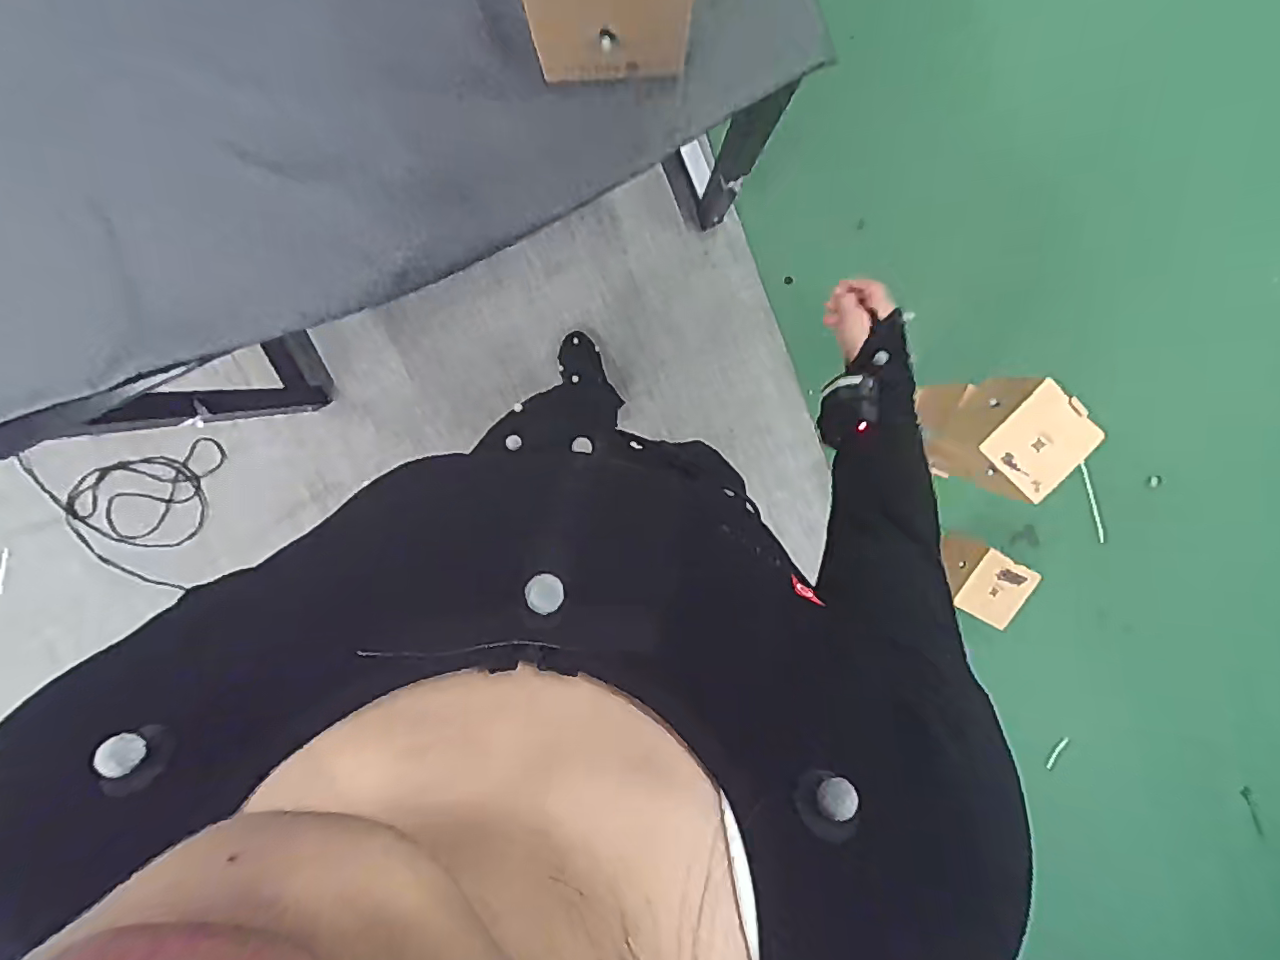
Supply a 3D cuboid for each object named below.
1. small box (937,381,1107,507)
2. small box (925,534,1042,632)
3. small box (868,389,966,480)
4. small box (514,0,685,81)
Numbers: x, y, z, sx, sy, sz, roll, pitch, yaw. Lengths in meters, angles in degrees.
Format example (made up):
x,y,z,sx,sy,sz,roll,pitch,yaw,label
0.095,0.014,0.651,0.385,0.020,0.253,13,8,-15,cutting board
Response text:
x,y,z,sx,sy,sz,roll,pitch,yaw,label
0.733,-0.078,1.061,0.168,0.176,0.179,41,97,-7,small box
0.914,0.270,1.459,0.168,0.176,0.179,28,100,-6,small box
0.714,-0.121,1.386,0.168,0.176,0.179,22,99,-4,small box
-0.040,-0.540,0.550,0.168,0.176,0.179,-4,98,0,small box
